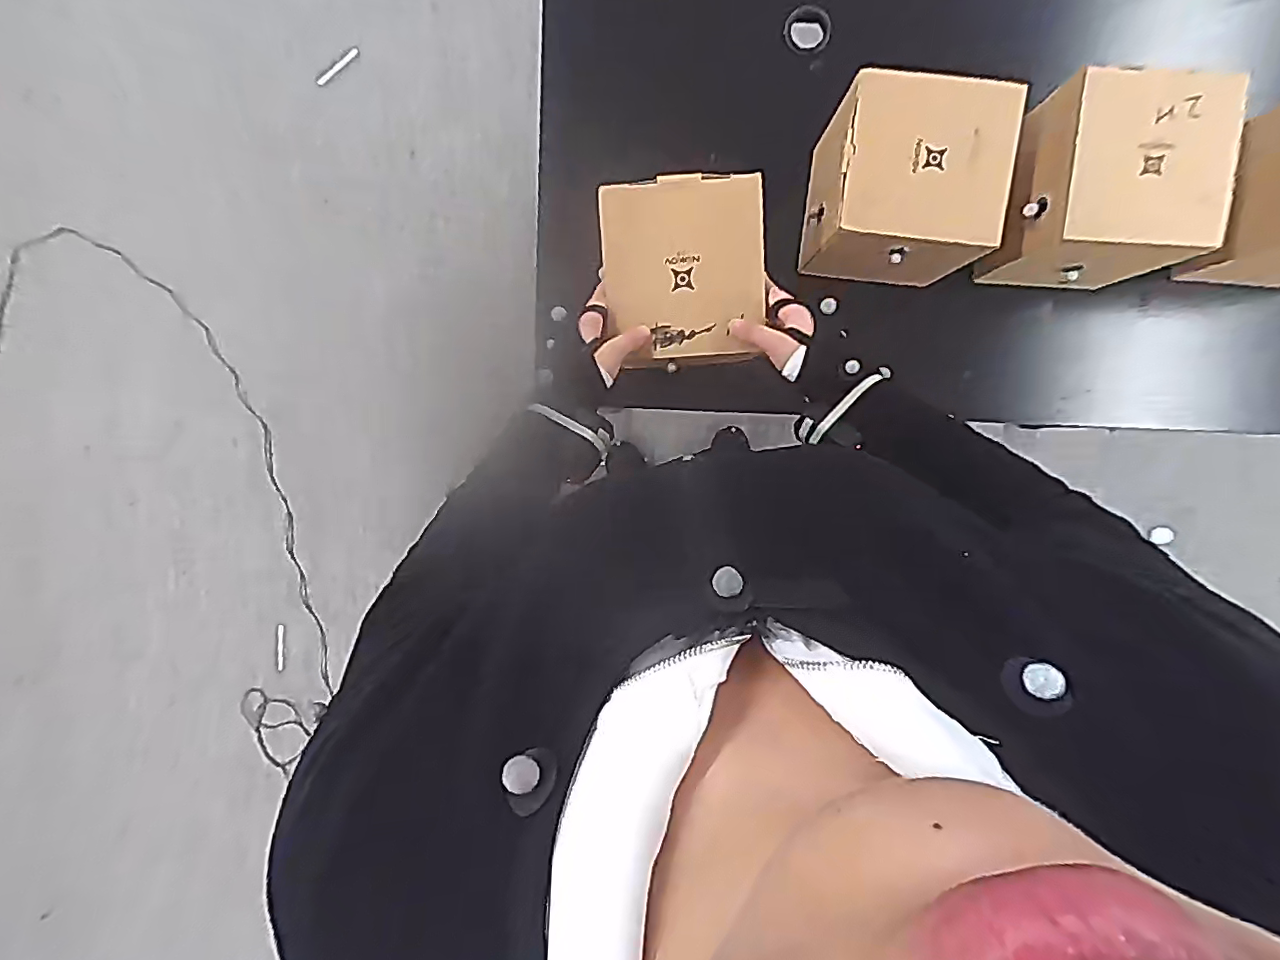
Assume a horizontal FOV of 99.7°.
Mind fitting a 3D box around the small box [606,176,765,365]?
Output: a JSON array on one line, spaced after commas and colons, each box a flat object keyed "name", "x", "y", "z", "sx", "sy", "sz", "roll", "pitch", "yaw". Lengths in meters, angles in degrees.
[{"name": "small box", "x": 0.051, "y": -0.233, "z": 0.642, "sx": 0.168, "sy": 0.176, "sz": 0.179, "roll": -2, "pitch": 100, "yaw": 4}]

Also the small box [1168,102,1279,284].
[{"name": "small box", "x": 0.794, "y": -0.341, "z": 0.641, "sx": 0.179, "sy": 0.176, "sz": 0.168, "roll": 5, "pitch": 95, "yaw": 1}]

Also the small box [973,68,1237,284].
[{"name": "small box", "x": 0.533, "y": -0.346, "z": 0.649, "sx": 0.168, "sy": 0.176, "sz": 0.179, "roll": 4, "pitch": 95, "yaw": 1}]
